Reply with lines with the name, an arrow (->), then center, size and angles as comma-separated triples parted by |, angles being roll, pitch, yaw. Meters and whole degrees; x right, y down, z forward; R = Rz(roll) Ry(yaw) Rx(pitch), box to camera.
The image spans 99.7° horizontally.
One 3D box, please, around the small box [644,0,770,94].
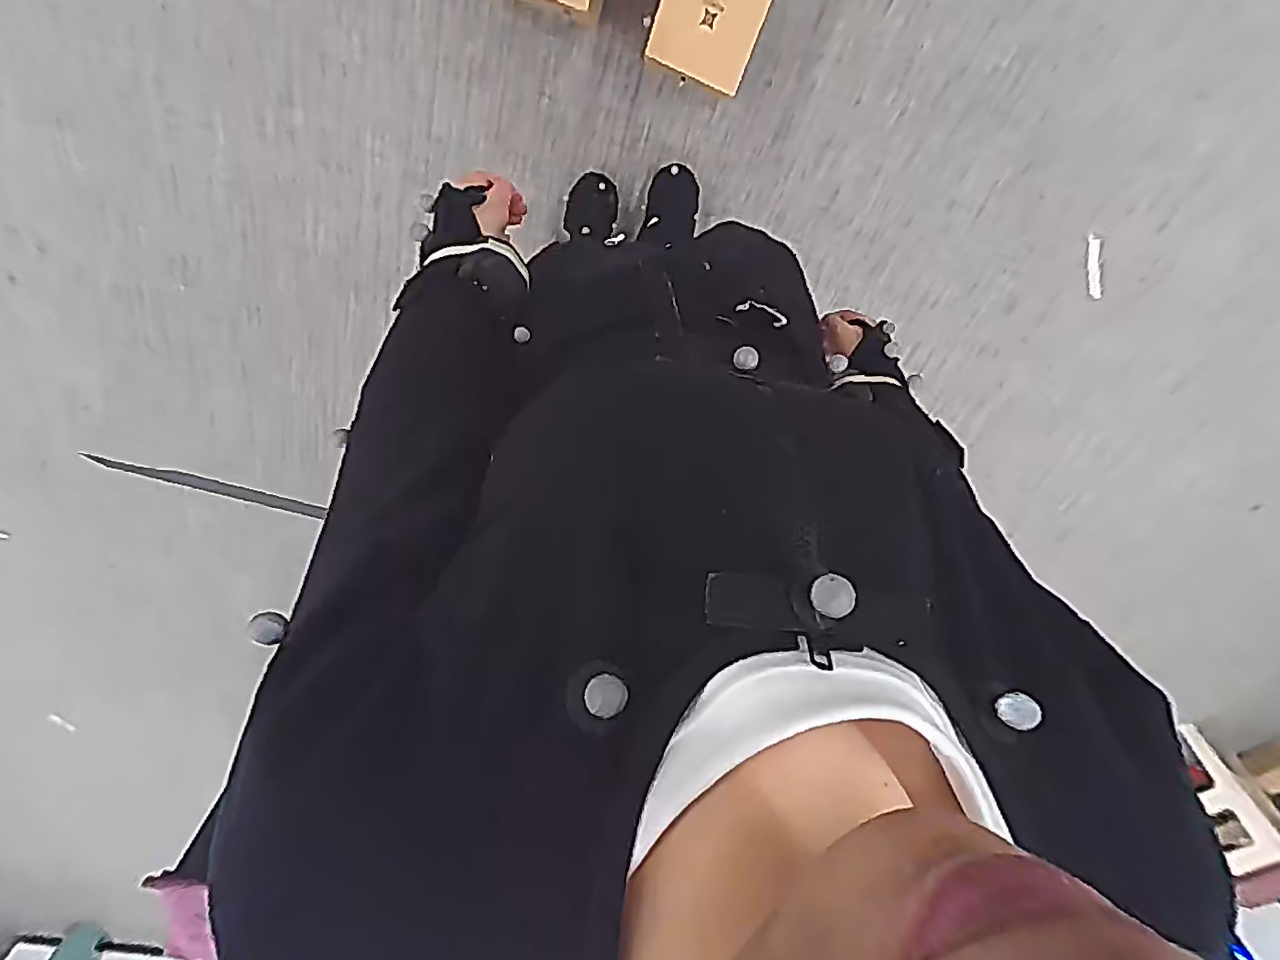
small box -> 0.114, -0.790, 0.922 | 0.168, 0.176, 0.179 | 17, 122, -12
